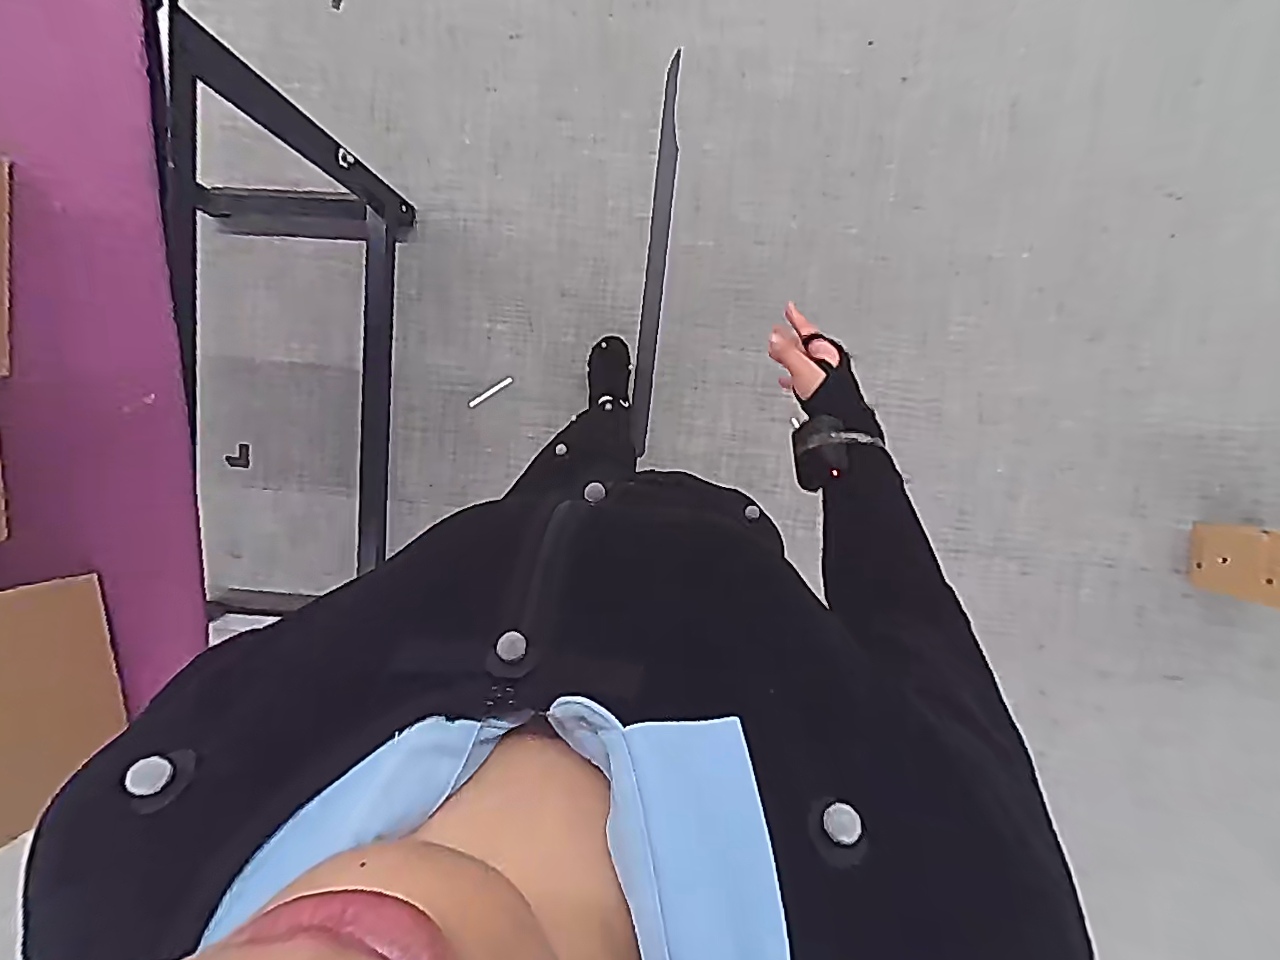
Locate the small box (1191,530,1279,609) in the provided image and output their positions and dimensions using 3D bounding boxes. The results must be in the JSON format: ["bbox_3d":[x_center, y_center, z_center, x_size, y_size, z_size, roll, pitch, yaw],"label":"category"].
[{"bbox_3d":[1.523,0.219,1.329,0.179,0.176,0.168,2,95,2],"label":"small box"}]

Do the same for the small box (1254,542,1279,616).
[{"bbox_3d":[1.516,0.231,1.166,0.179,0.176,0.168,3,94,4],"label":"small box"}]
